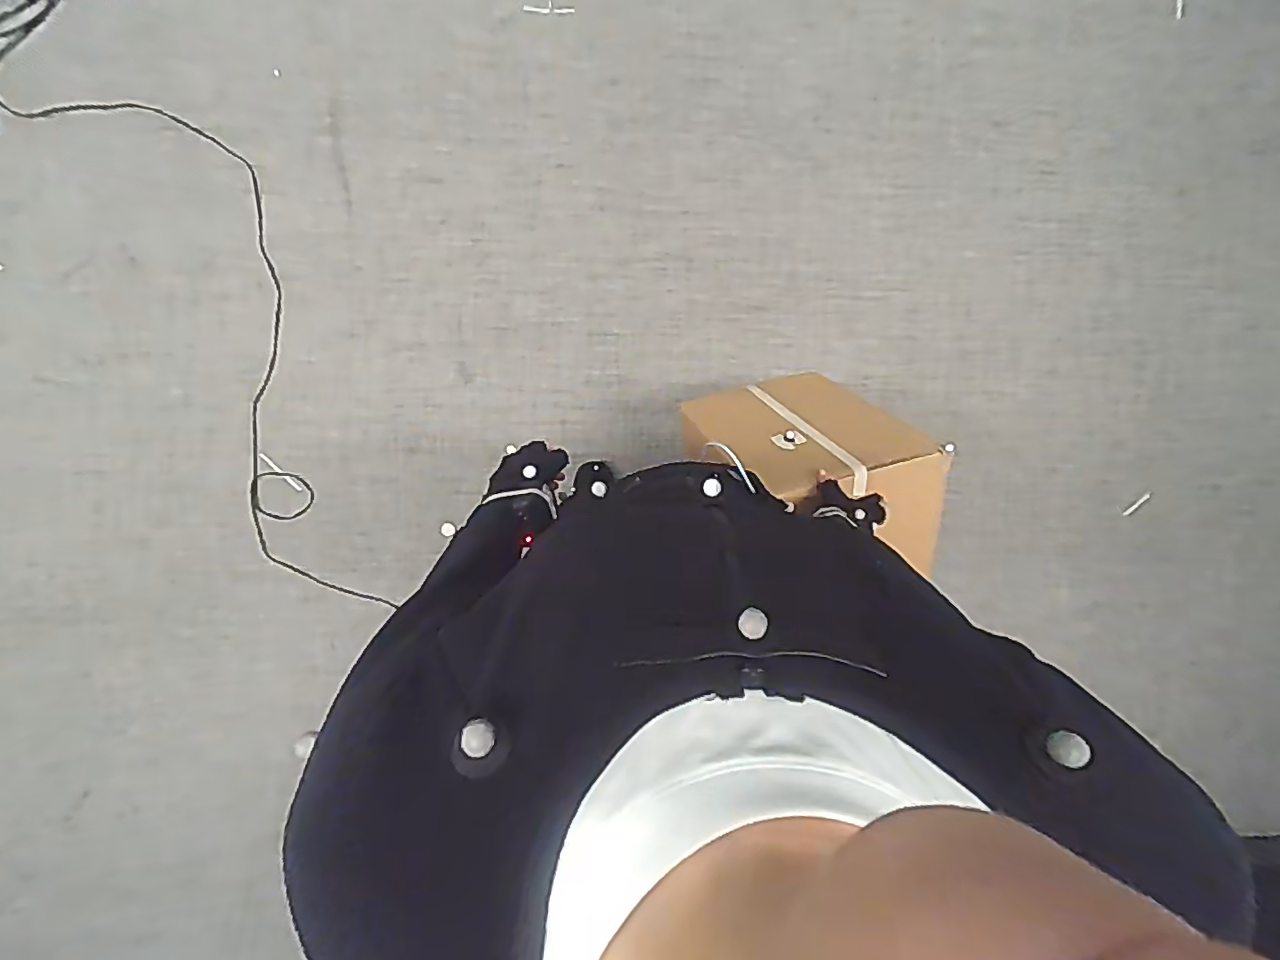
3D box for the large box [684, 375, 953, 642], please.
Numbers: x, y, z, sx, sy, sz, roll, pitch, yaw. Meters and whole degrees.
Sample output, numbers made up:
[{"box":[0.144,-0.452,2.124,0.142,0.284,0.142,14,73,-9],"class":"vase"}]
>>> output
[{"box":[0.299,0.029,1.039,0.320,0.408,0.320,-14,121,-8],"class":"large box"}]
